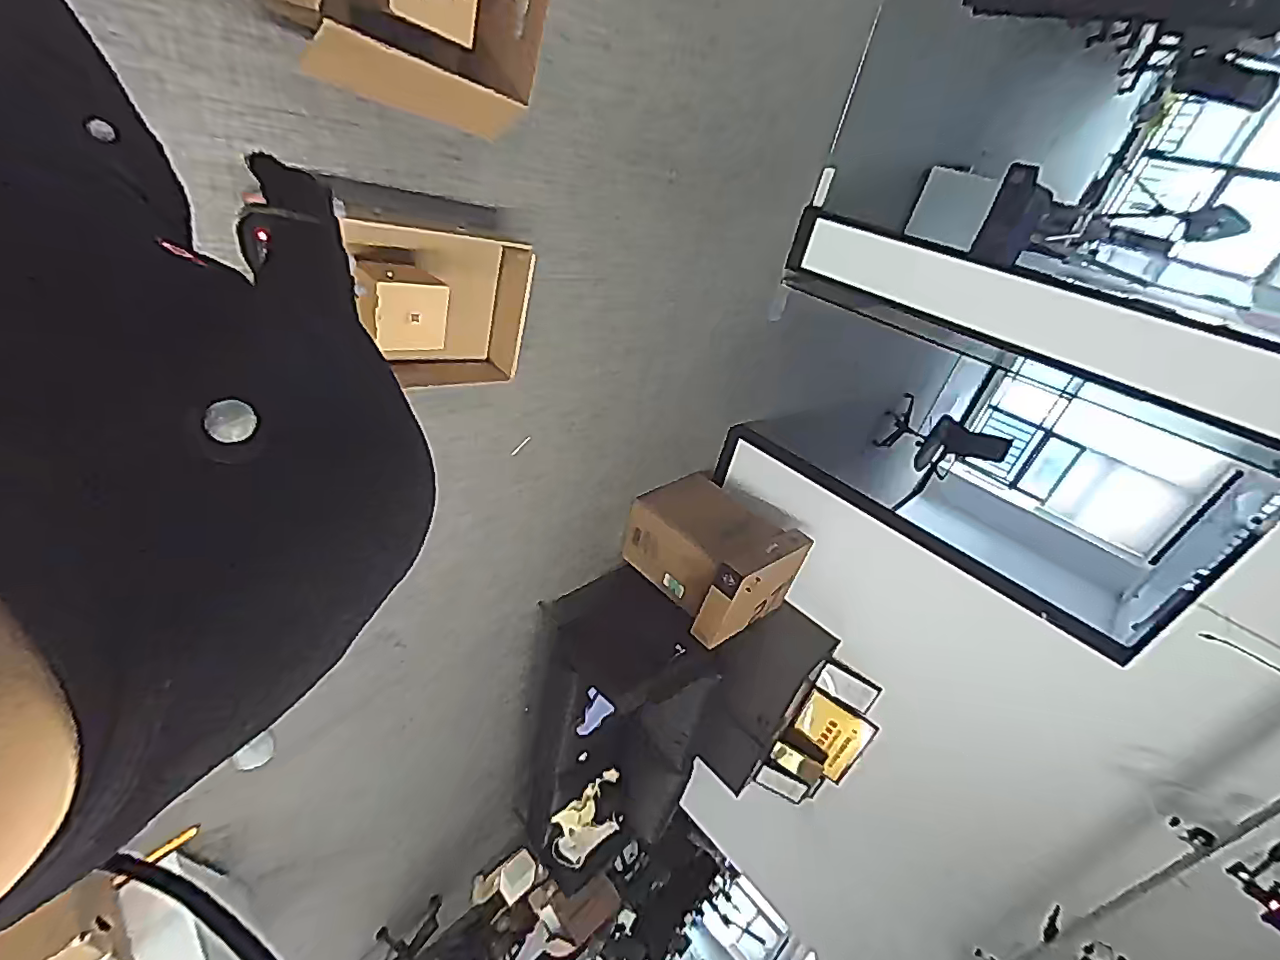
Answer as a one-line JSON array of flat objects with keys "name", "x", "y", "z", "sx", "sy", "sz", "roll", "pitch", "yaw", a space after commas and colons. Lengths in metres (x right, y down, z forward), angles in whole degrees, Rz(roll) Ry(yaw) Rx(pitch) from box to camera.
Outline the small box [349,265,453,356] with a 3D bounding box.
[{"name": "small box", "x": -0.592, "y": -0.419, "z": 1.336, "sx": 0.179, "sy": 0.176, "sz": 0.168, "roll": -16, "pitch": 133, "yaw": -45}]
